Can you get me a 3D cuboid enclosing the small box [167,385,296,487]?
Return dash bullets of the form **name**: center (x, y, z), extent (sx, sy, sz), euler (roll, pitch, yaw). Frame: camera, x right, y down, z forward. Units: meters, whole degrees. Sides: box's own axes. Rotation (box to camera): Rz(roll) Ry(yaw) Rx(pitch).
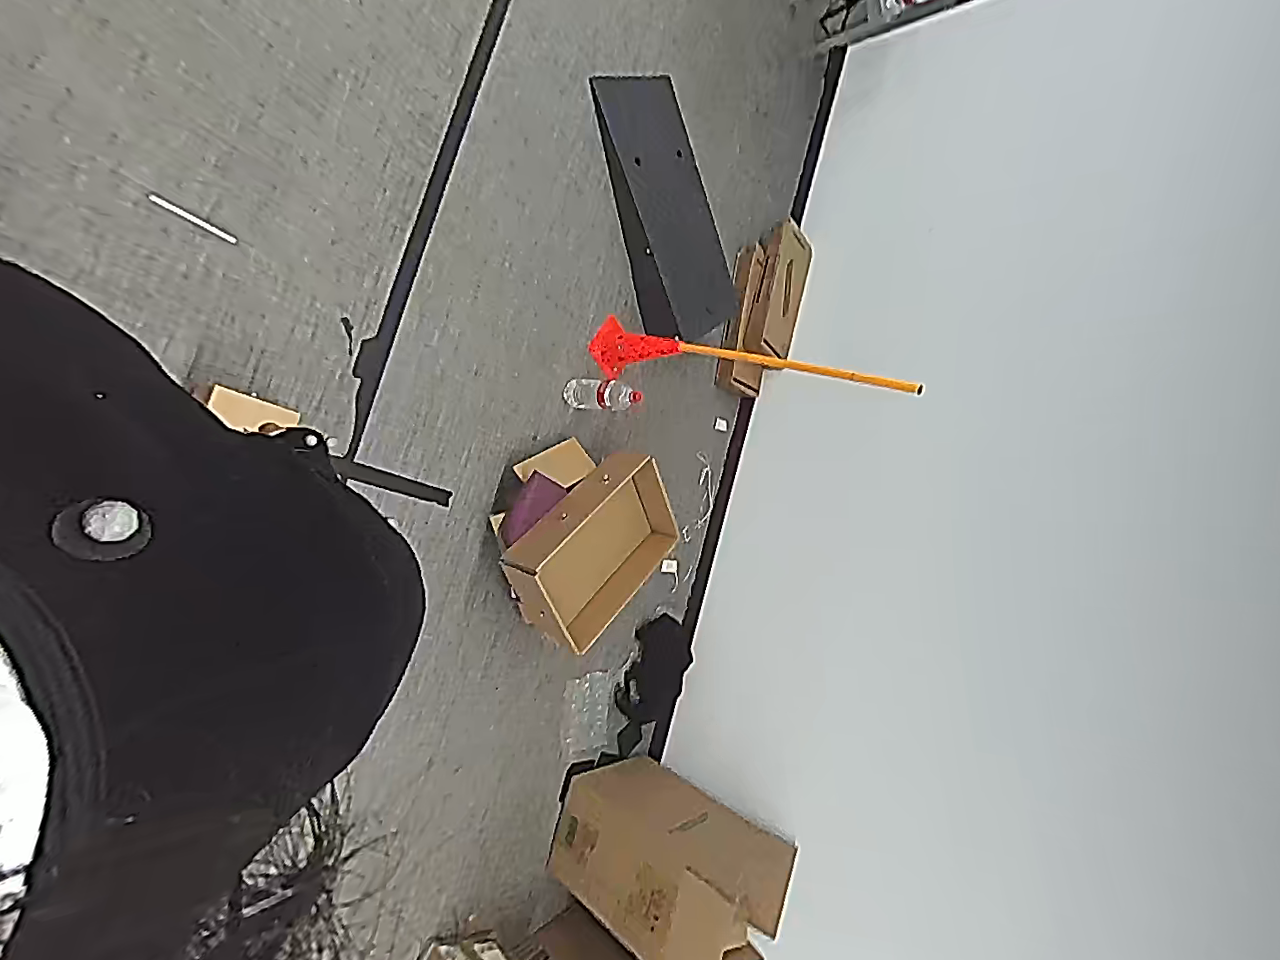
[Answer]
- **small box**: center (-0.904, -0.099, 1.194), extent (0.168, 0.176, 0.179), euler (25, 79, -49)
